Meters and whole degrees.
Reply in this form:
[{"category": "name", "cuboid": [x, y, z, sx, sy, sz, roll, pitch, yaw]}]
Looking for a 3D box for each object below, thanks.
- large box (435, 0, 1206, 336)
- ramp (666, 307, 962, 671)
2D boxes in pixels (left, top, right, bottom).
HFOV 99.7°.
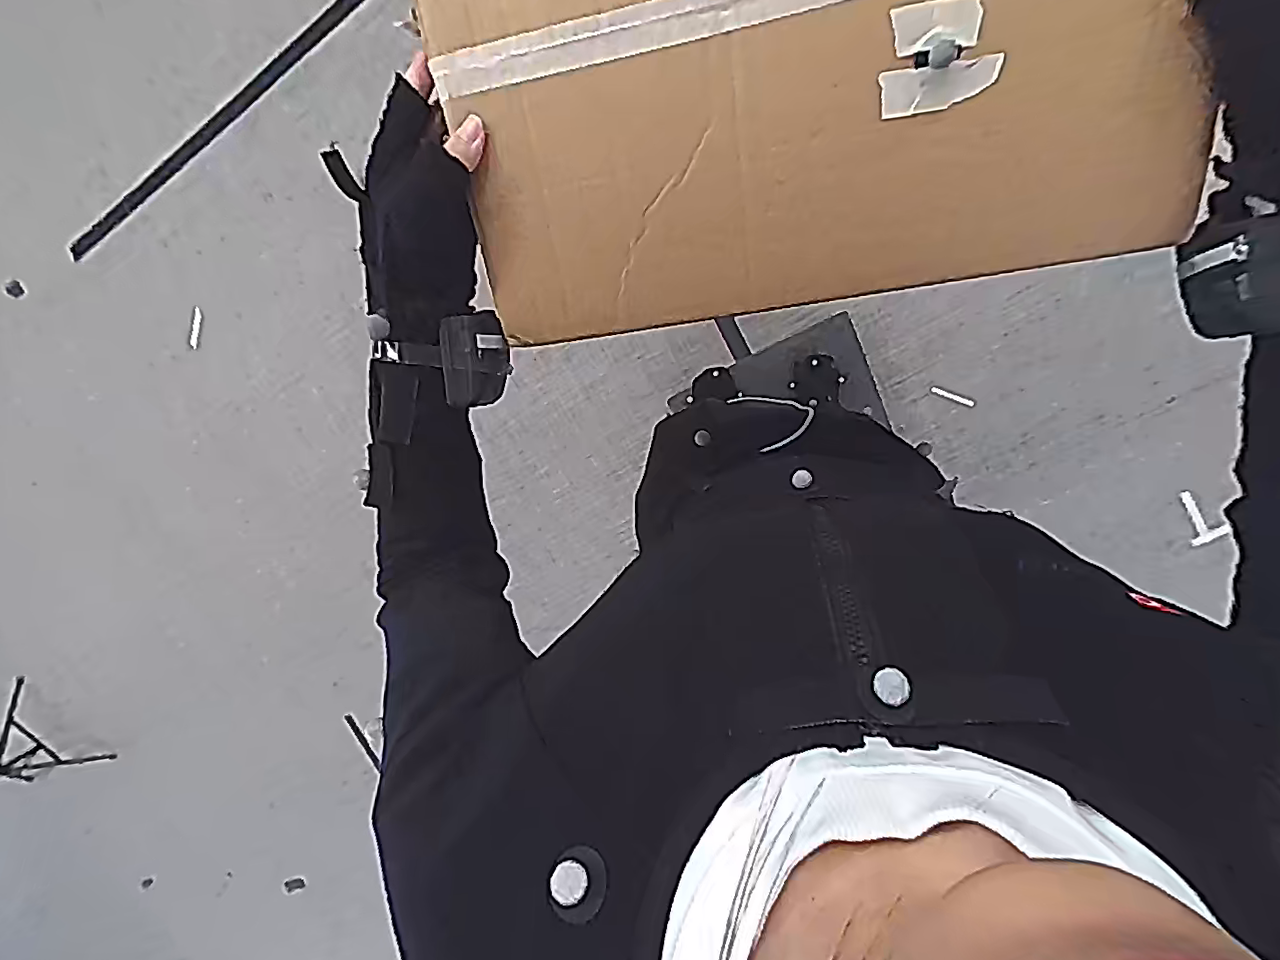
[{"category": "large box", "cuboid": [0.098, -0.322, 0.424, 0.408, 0.320, 0.320, -7, 114, 9]}, {"category": "ramp", "cuboid": [0.511, 0.088, 1.504, 0.509, 0.206, 0.991, -27, 97, 12]}]
